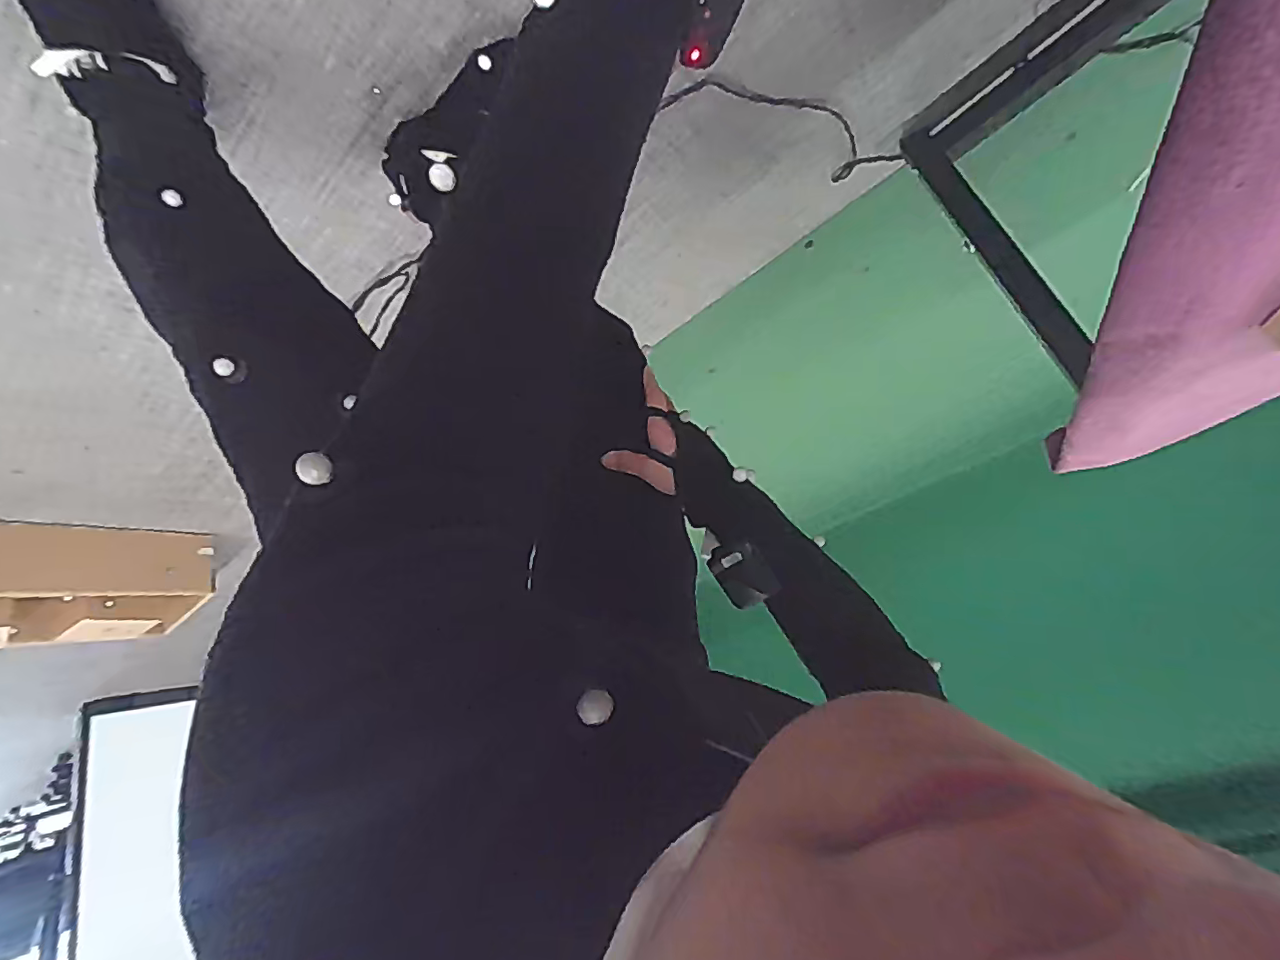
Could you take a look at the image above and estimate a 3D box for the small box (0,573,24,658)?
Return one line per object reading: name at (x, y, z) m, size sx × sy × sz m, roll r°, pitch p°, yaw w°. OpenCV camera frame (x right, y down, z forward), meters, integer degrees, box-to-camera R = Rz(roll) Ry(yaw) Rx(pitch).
small box at (-1.649, 0.333, 1.312) m, size 0.168 × 0.176 × 0.179 m, roll -34°, pitch 153°, yaw 30°
